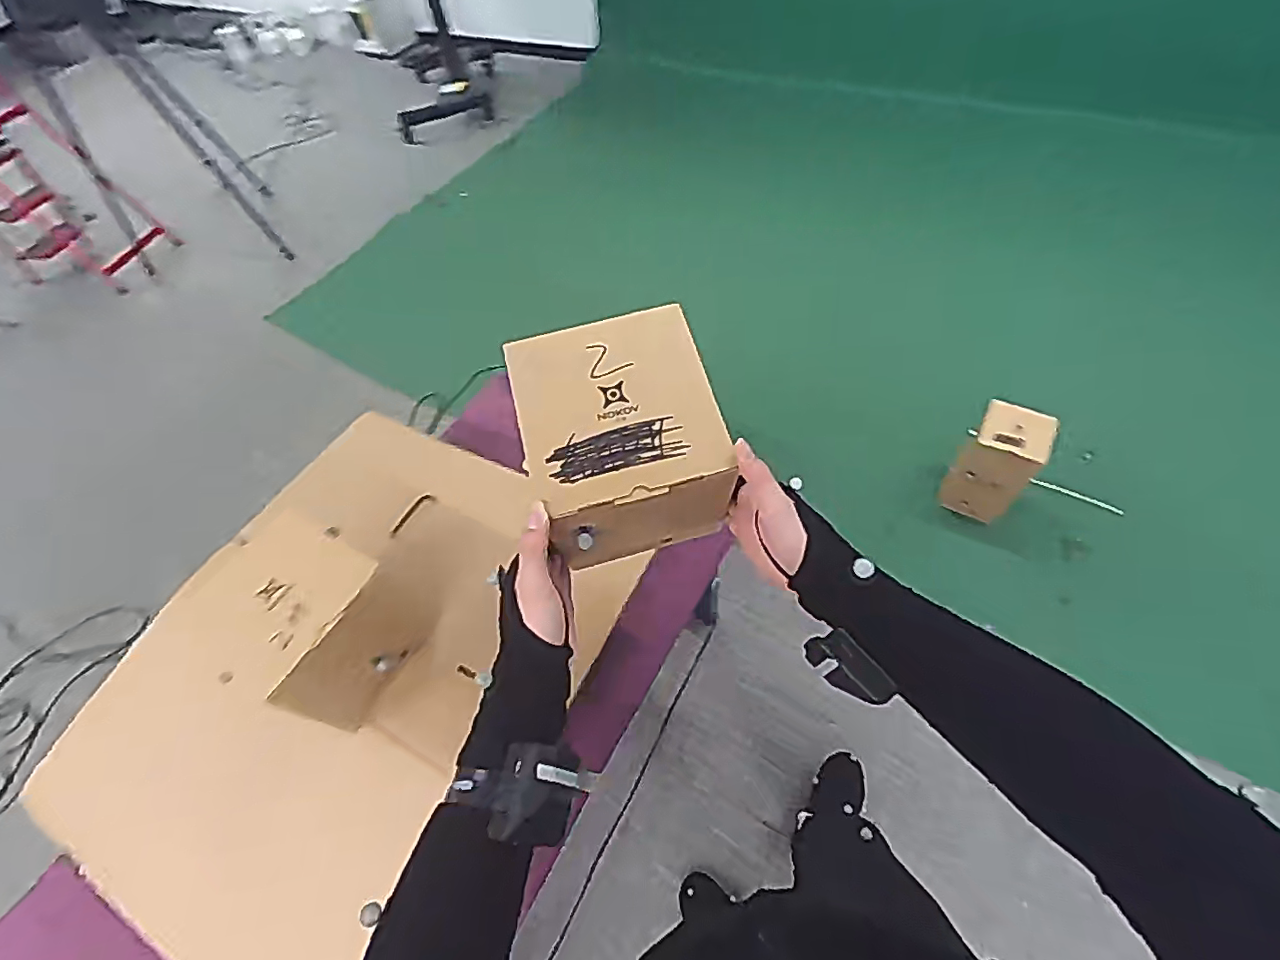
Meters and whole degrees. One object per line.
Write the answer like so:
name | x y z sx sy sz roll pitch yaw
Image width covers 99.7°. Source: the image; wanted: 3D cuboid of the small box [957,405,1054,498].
small box | 1.037 -0.078 1.548 0.168 0.176 0.179 24 62 21

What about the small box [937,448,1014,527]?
small box | 1.055 0.012 1.683 0.168 0.176 0.179 24 63 21
